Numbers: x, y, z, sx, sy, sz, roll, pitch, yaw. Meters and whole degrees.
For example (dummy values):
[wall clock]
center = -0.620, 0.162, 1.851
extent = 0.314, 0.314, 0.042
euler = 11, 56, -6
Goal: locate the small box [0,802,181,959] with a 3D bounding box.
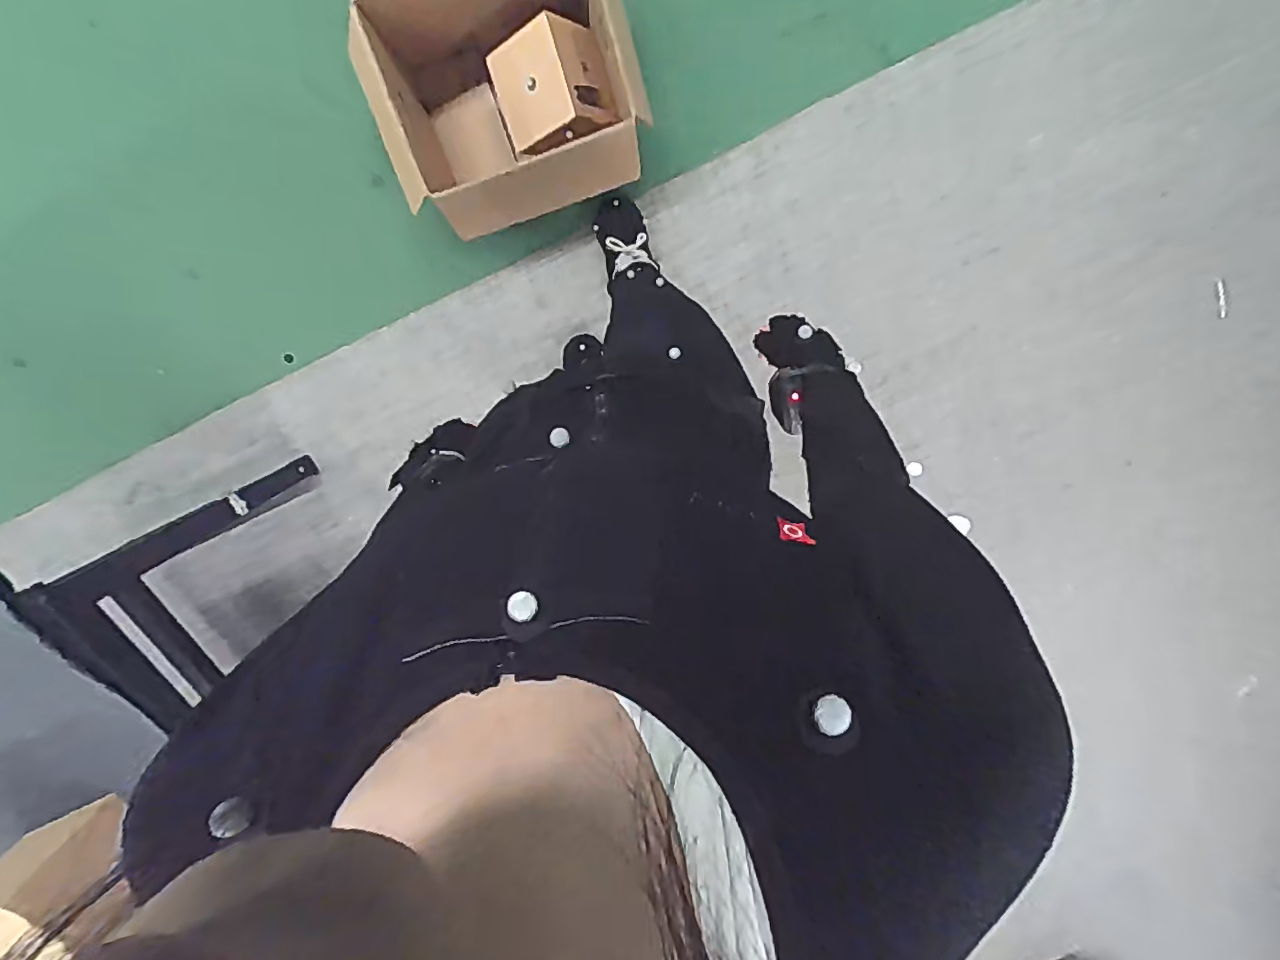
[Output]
[small box]
center = -0.849, 0.623, 0.794
extent = 0.179, 0.176, 0.168
euler = -26, 108, 5
